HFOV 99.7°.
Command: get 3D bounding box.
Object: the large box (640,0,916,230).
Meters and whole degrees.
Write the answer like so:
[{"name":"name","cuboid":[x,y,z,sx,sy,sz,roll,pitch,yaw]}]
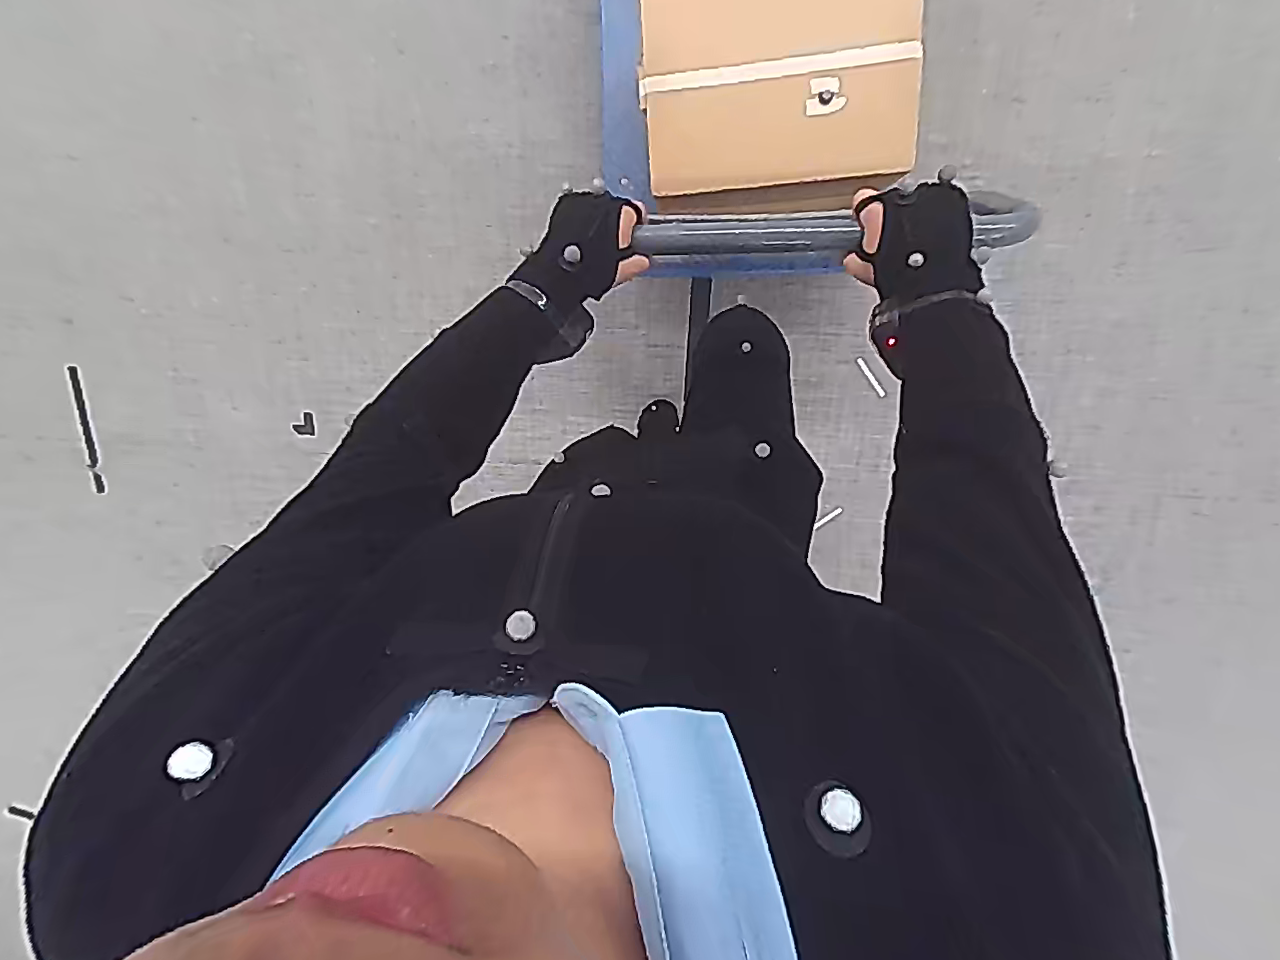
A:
[{"name":"large box","cuboid":[0.221,-0.657,0.965,0.408,0.320,0.320,-3,106,6]}]
